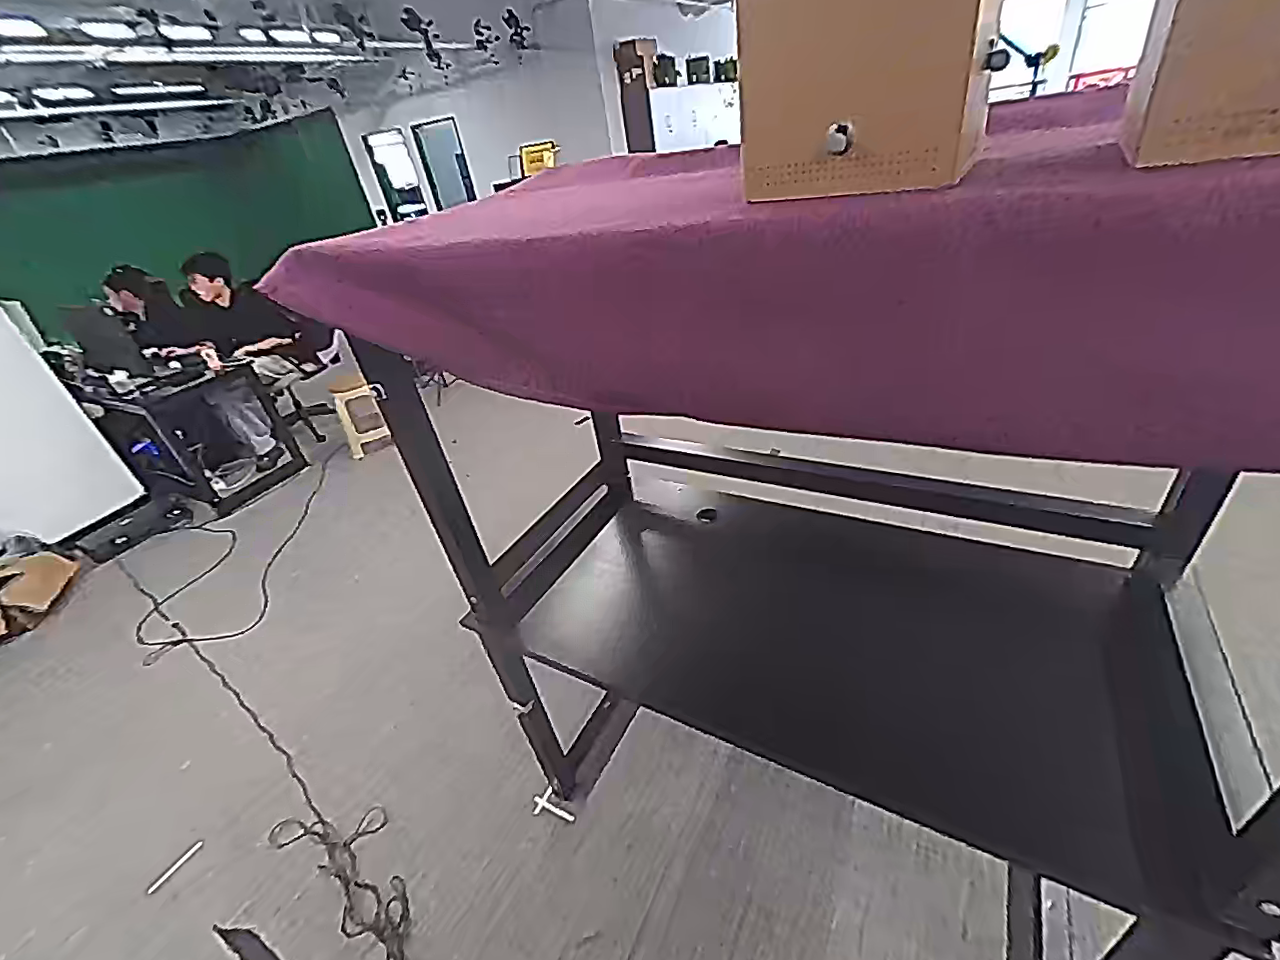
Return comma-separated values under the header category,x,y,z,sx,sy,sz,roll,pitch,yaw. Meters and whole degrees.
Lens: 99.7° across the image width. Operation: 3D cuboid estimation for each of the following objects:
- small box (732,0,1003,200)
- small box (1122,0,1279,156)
category,x,y,z,sx,sy,sz,roll,pitch,yaw
small box,0.193,-0.347,0.459,0.179,0.176,0.168,13,39,31
small box,0.427,-0.308,0.330,0.168,0.176,0.179,12,38,32
